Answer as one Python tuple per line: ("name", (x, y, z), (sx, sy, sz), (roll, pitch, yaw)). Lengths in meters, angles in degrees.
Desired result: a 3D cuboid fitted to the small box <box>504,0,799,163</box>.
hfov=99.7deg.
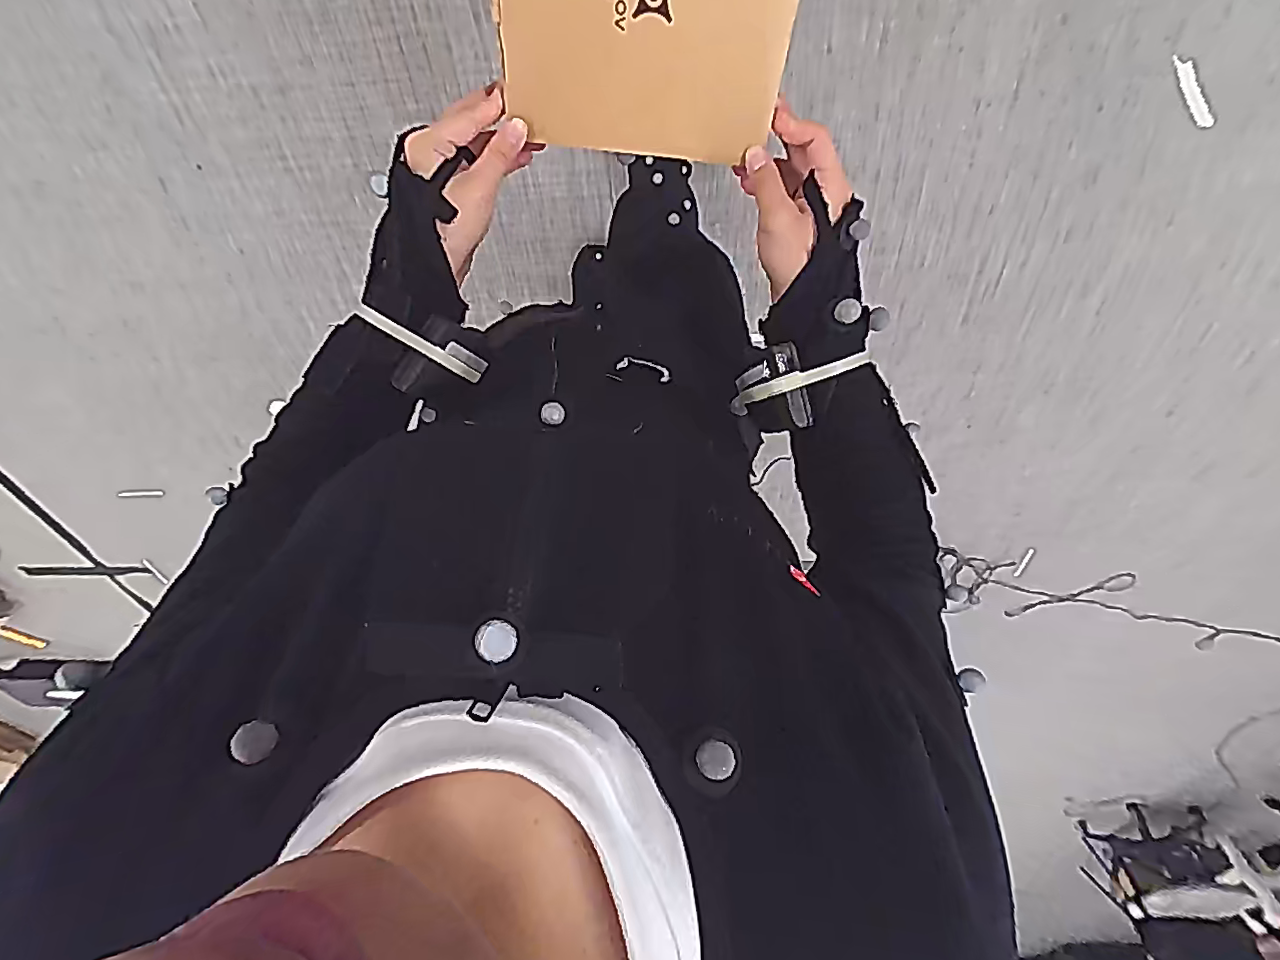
("small box", (0.010, -0.341, 0.370), (0.179, 0.176, 0.168), (6, 136, 0))
